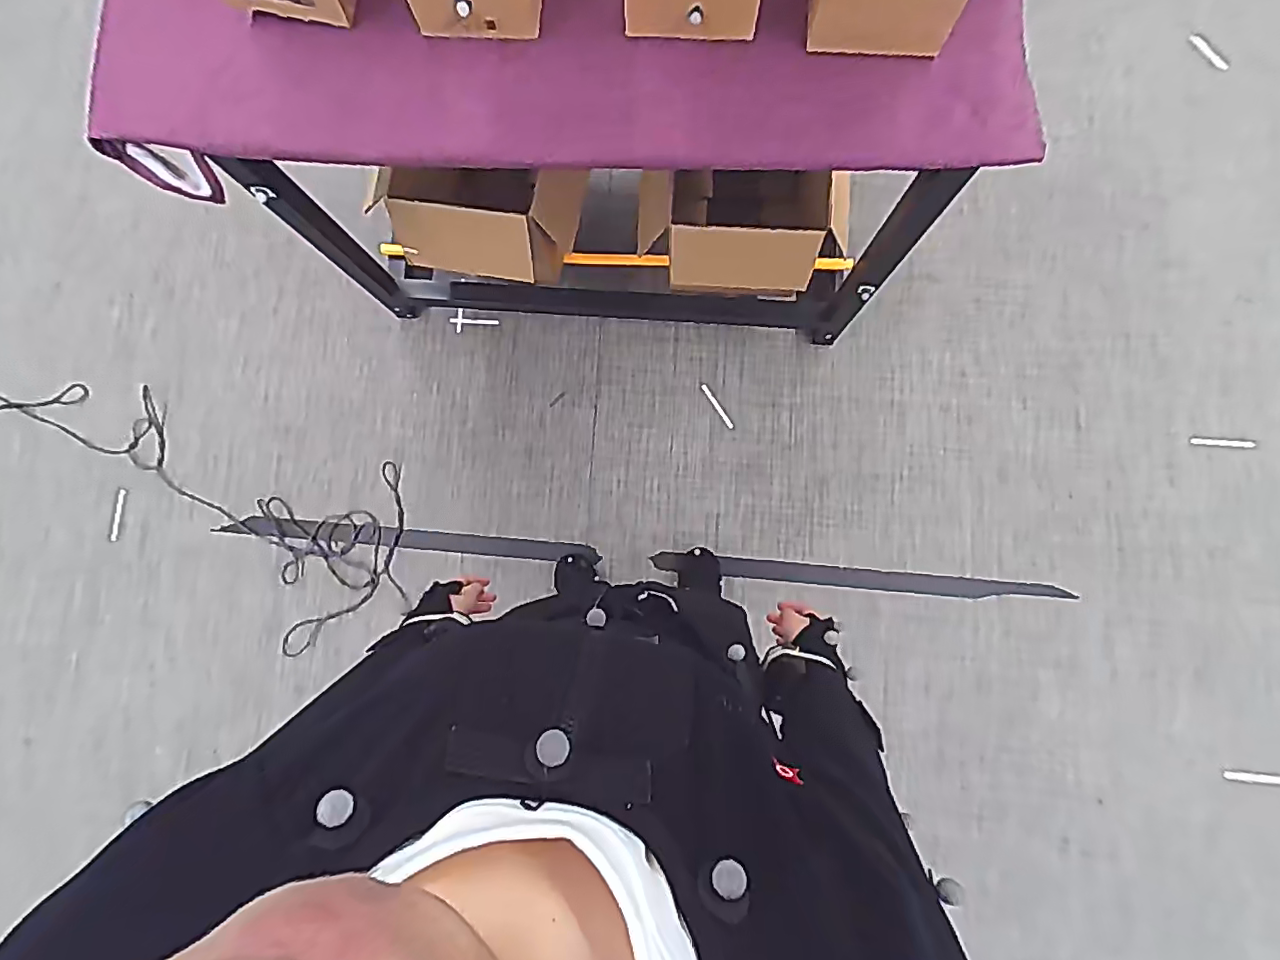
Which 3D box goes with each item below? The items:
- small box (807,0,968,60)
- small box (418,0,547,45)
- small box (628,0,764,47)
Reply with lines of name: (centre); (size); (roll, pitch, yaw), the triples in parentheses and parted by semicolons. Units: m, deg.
small box: (0.319, -0.659, 0.661); (0.179, 0.176, 0.168); (5, 81, 3)
small box: (-0.212, -0.710, 0.689); (0.168, 0.176, 0.179); (4, 84, 3)
small box: (0.076, -0.691, 0.673); (0.179, 0.176, 0.168); (5, 82, 3)
